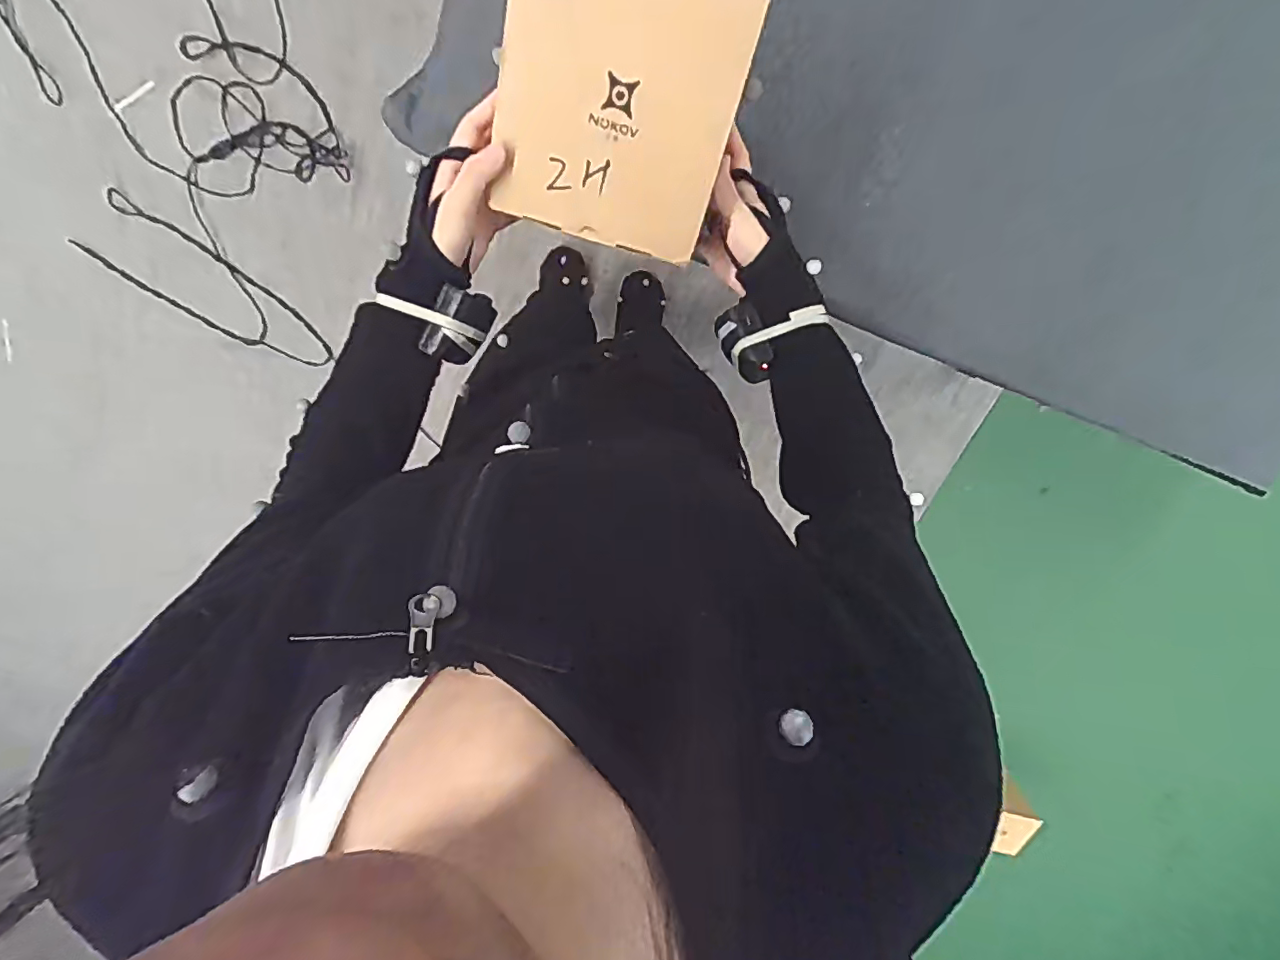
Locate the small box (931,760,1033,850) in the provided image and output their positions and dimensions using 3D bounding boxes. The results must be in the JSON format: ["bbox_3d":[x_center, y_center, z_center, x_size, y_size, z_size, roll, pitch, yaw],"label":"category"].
[{"bbox_3d":[1.071,1.022,1.709,0.179,0.176,0.168,16,112,-6],"label":"small box"}]
